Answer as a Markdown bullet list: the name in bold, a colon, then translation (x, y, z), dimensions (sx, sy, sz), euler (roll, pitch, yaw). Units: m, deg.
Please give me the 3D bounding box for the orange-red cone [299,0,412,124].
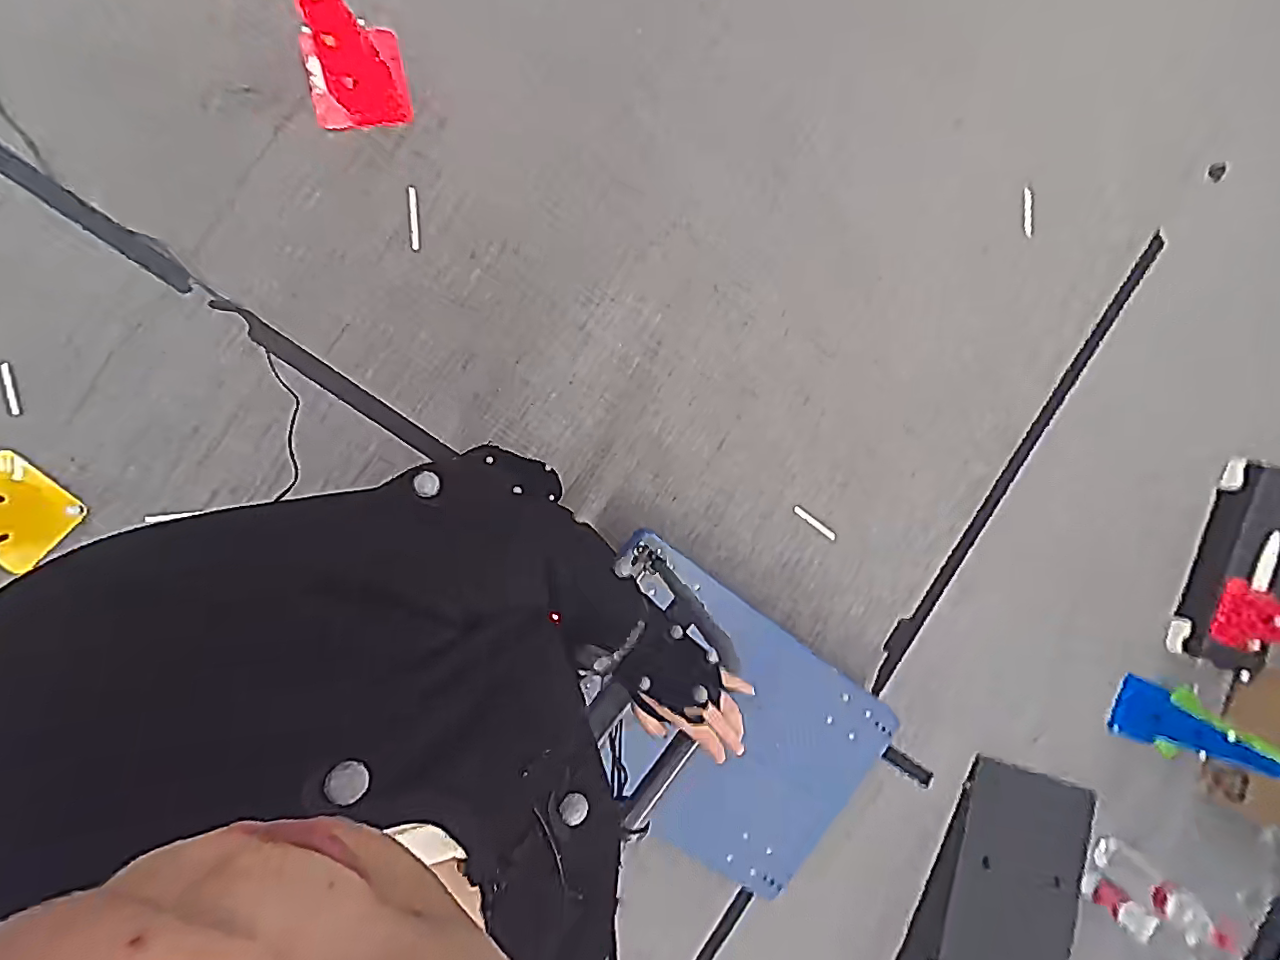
- **orange-red cone**: translation (-0.585, -0.874, 1.021), dimensions (0.198, 0.360, 0.199), euler (-10, 98, -9)
